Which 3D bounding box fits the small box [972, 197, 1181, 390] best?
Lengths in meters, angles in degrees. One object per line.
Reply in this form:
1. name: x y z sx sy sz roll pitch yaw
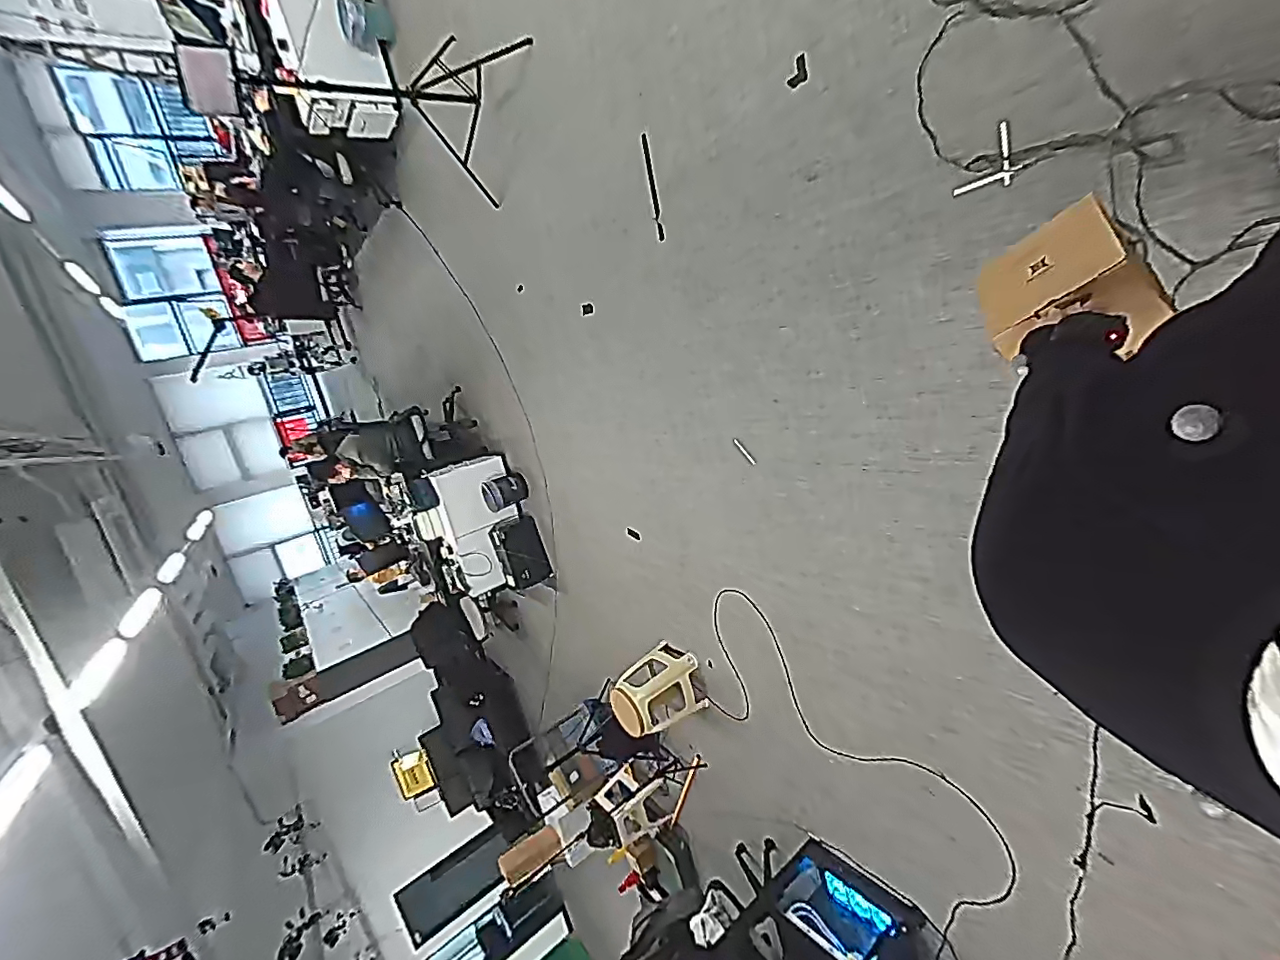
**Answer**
1. small box: 0.619 -0.254 0.780 0.176 0.179 0.168 33 141 -19
